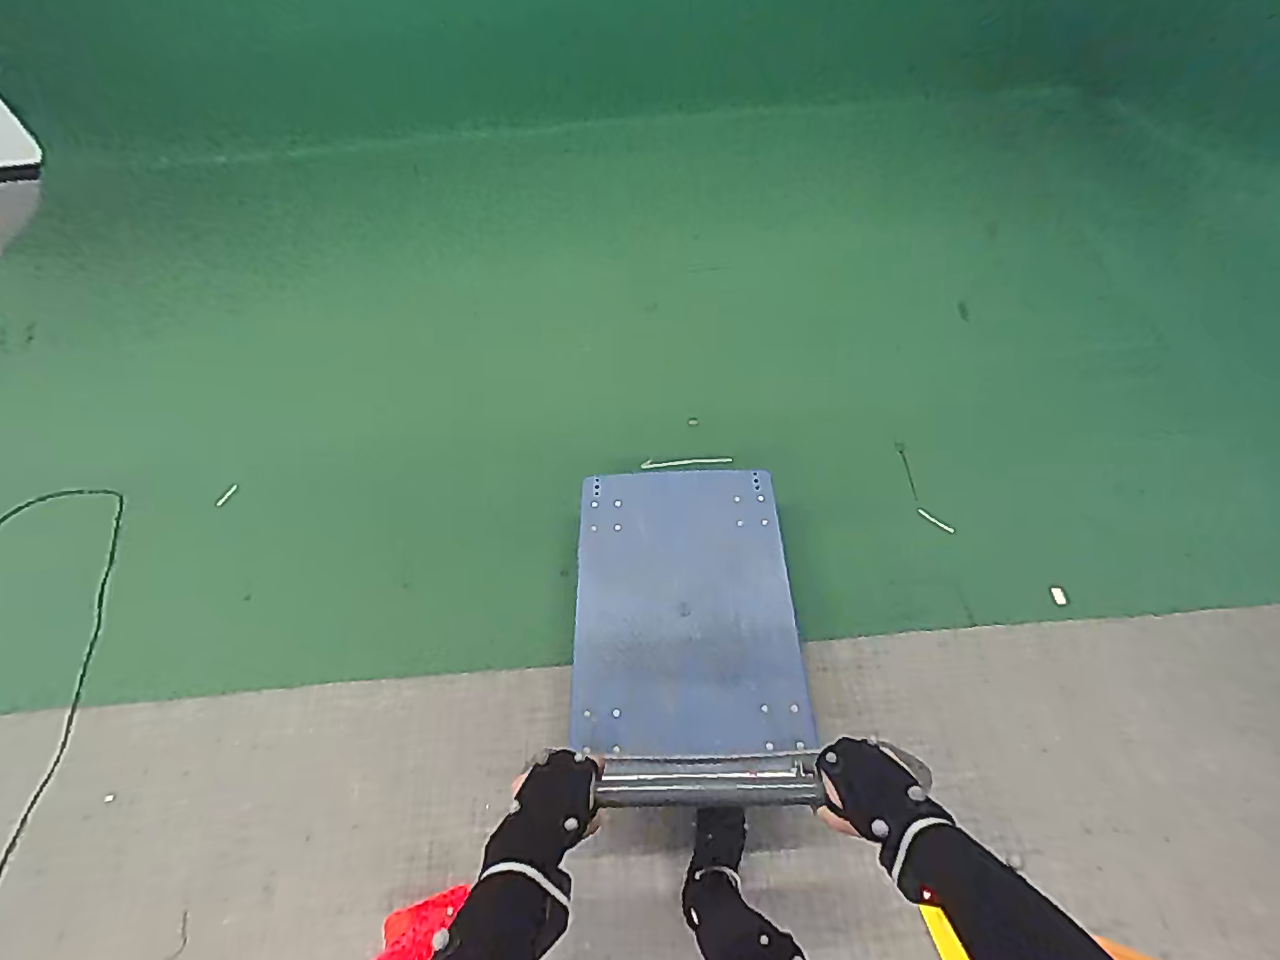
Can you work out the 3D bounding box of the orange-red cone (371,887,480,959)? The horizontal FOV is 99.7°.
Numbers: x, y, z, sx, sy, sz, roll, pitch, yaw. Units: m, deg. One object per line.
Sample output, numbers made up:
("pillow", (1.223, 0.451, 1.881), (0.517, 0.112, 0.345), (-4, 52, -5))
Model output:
("orange-red cone", (-0.469, 0.955, 1.056), (0.199, 0.360, 0.198), (-18, 58, -6))
